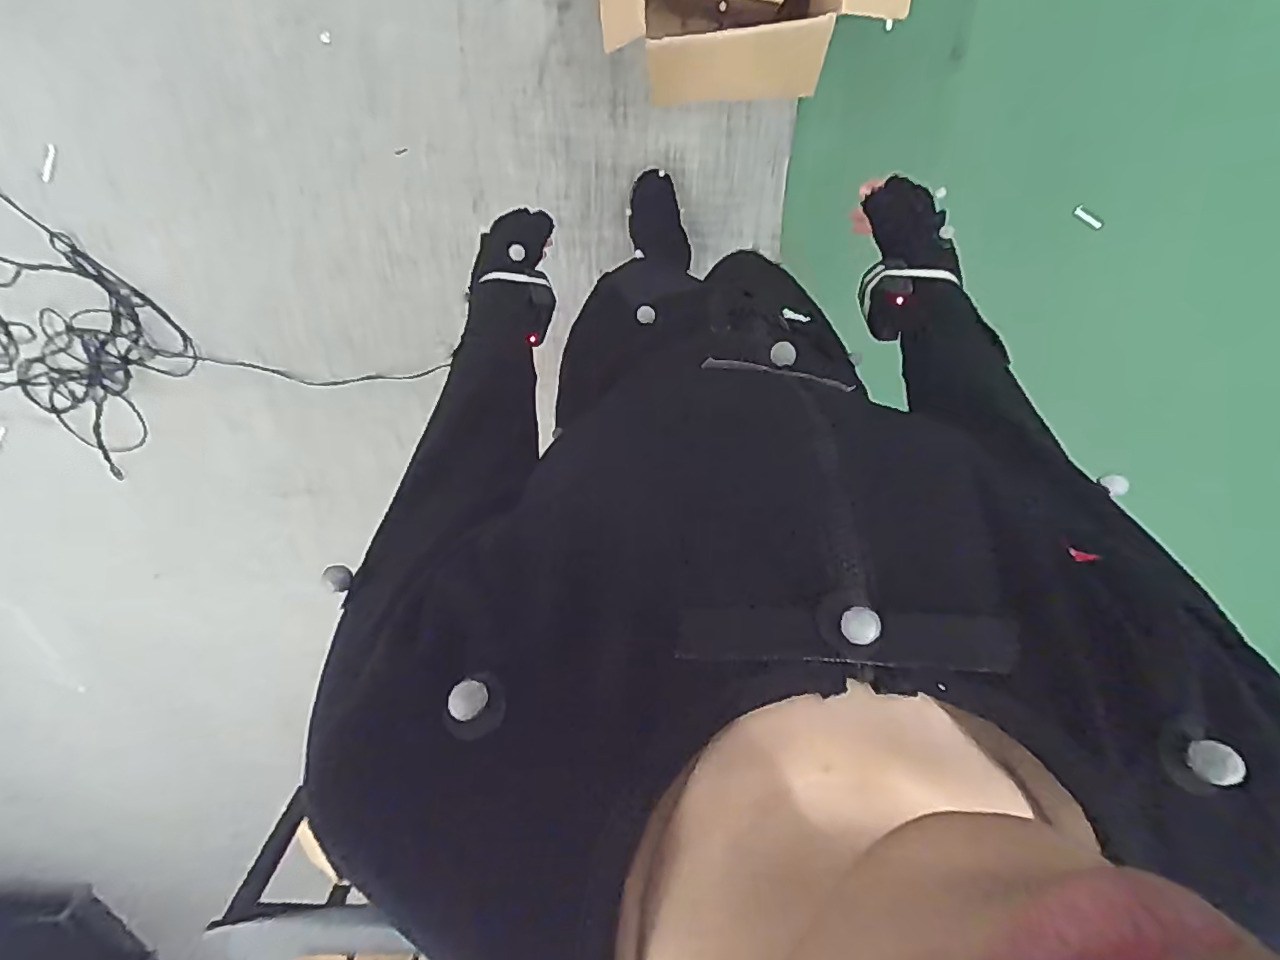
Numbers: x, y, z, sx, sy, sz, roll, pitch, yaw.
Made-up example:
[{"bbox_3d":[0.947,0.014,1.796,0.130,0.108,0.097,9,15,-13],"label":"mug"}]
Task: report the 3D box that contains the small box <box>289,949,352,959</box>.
[{"bbox_3d":[-0.925,1.471,1.529,0.168,0.176,0.179,1,119,1],"label":"small box"}]
